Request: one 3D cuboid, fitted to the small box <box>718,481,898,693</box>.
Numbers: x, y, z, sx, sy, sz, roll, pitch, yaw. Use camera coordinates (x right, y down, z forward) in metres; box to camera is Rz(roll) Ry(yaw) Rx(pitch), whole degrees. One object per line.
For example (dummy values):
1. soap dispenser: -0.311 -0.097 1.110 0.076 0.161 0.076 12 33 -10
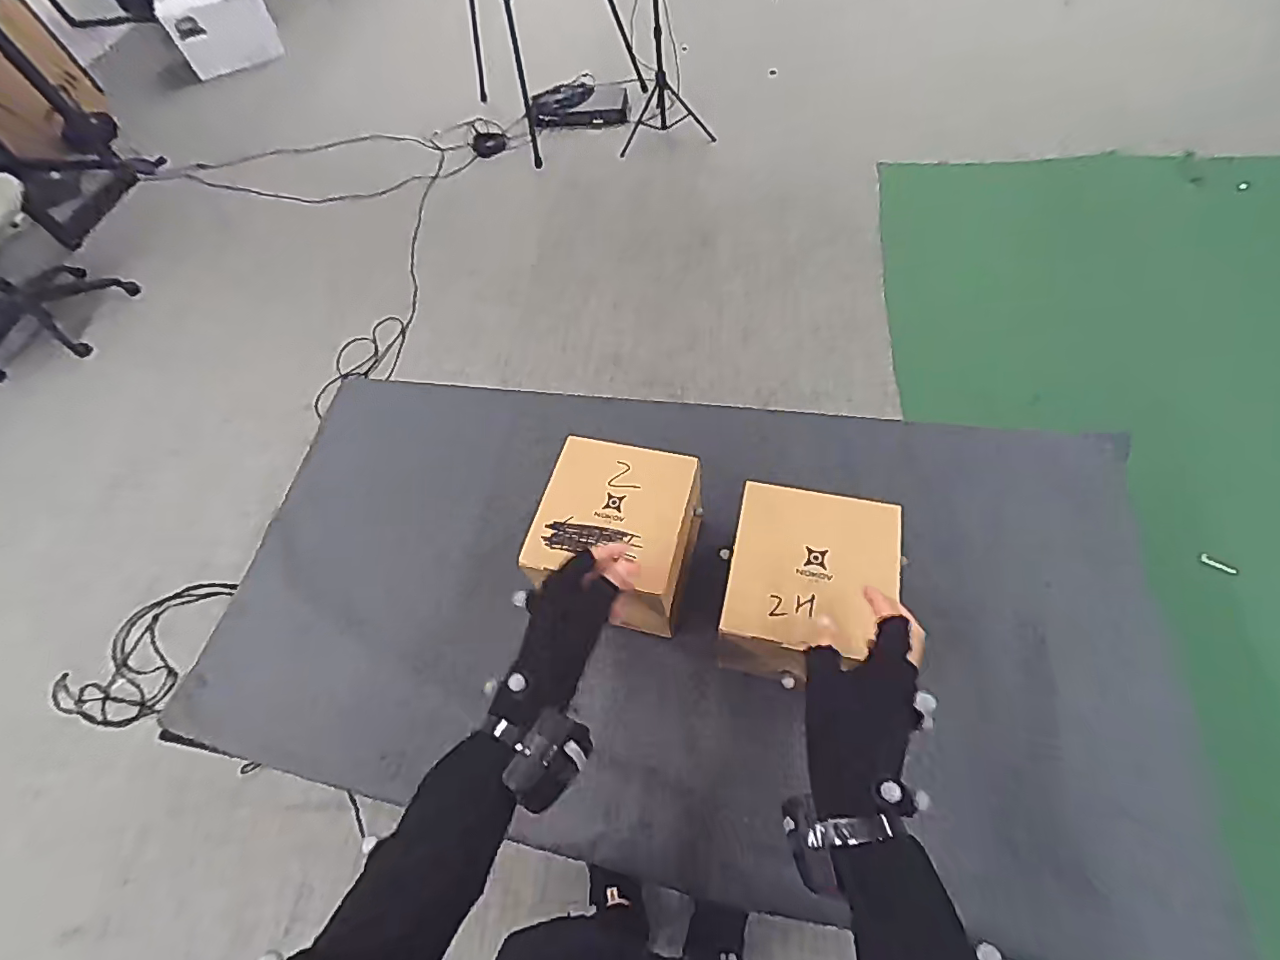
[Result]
1. small box: 0.185 0.127 0.624 0.168 0.176 0.179 9 62 13
